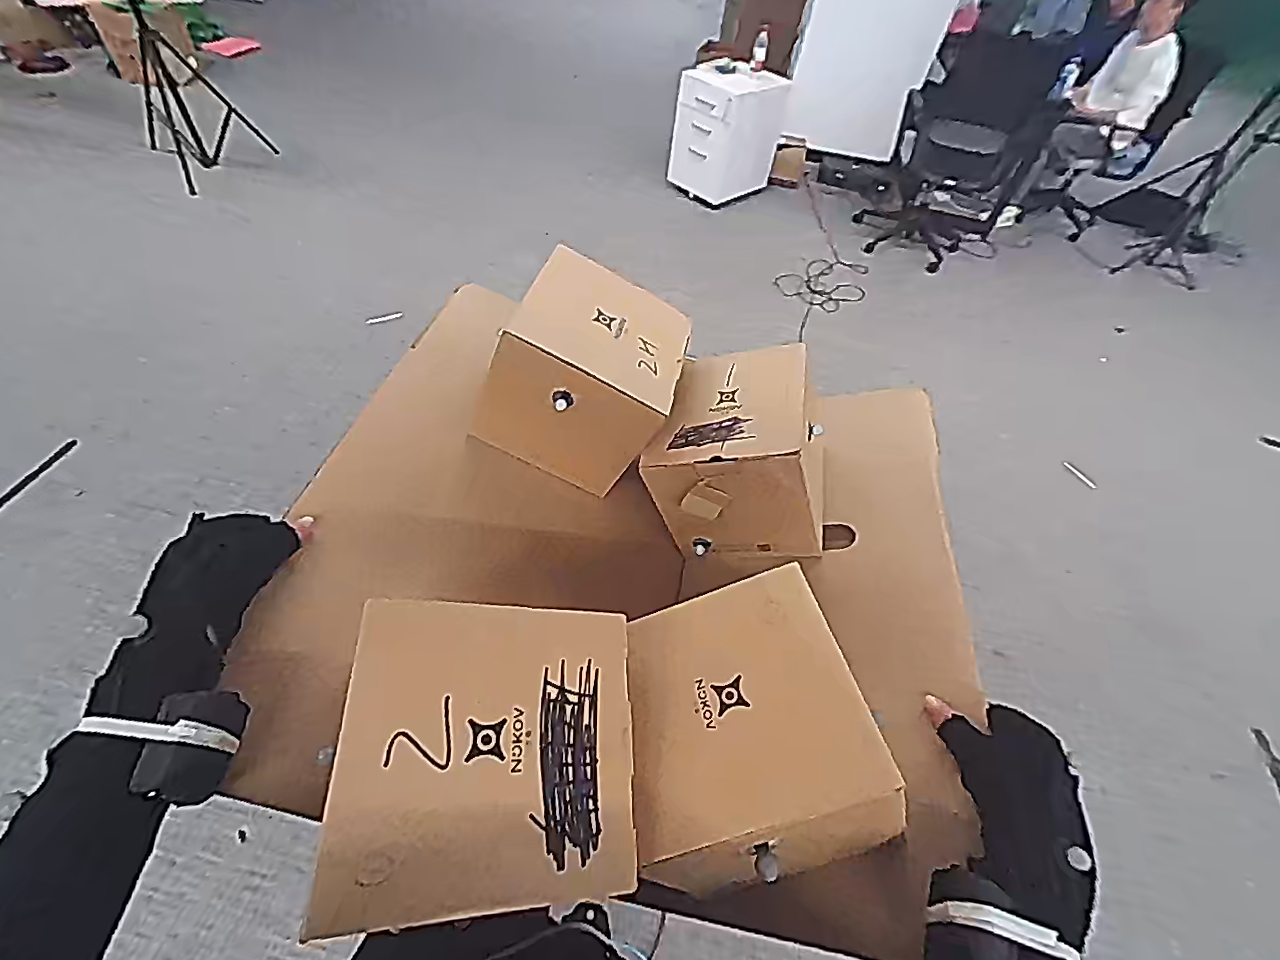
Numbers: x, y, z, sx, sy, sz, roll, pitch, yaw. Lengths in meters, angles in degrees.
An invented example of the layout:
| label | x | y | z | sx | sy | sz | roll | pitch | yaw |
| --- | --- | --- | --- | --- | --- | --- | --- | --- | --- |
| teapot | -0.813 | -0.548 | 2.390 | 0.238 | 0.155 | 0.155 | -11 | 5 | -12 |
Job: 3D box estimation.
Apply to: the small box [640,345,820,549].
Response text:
| label | x | y | z | sx | sy | sz | roll | pitch | yaw |
| --- | --- | --- | --- | --- | --- | --- | --- | --- | --- |
| small box | 0.119 | -0.030 | 0.645 | 0.168 | 0.176 | 0.179 | -4 | 46 | 24 |
